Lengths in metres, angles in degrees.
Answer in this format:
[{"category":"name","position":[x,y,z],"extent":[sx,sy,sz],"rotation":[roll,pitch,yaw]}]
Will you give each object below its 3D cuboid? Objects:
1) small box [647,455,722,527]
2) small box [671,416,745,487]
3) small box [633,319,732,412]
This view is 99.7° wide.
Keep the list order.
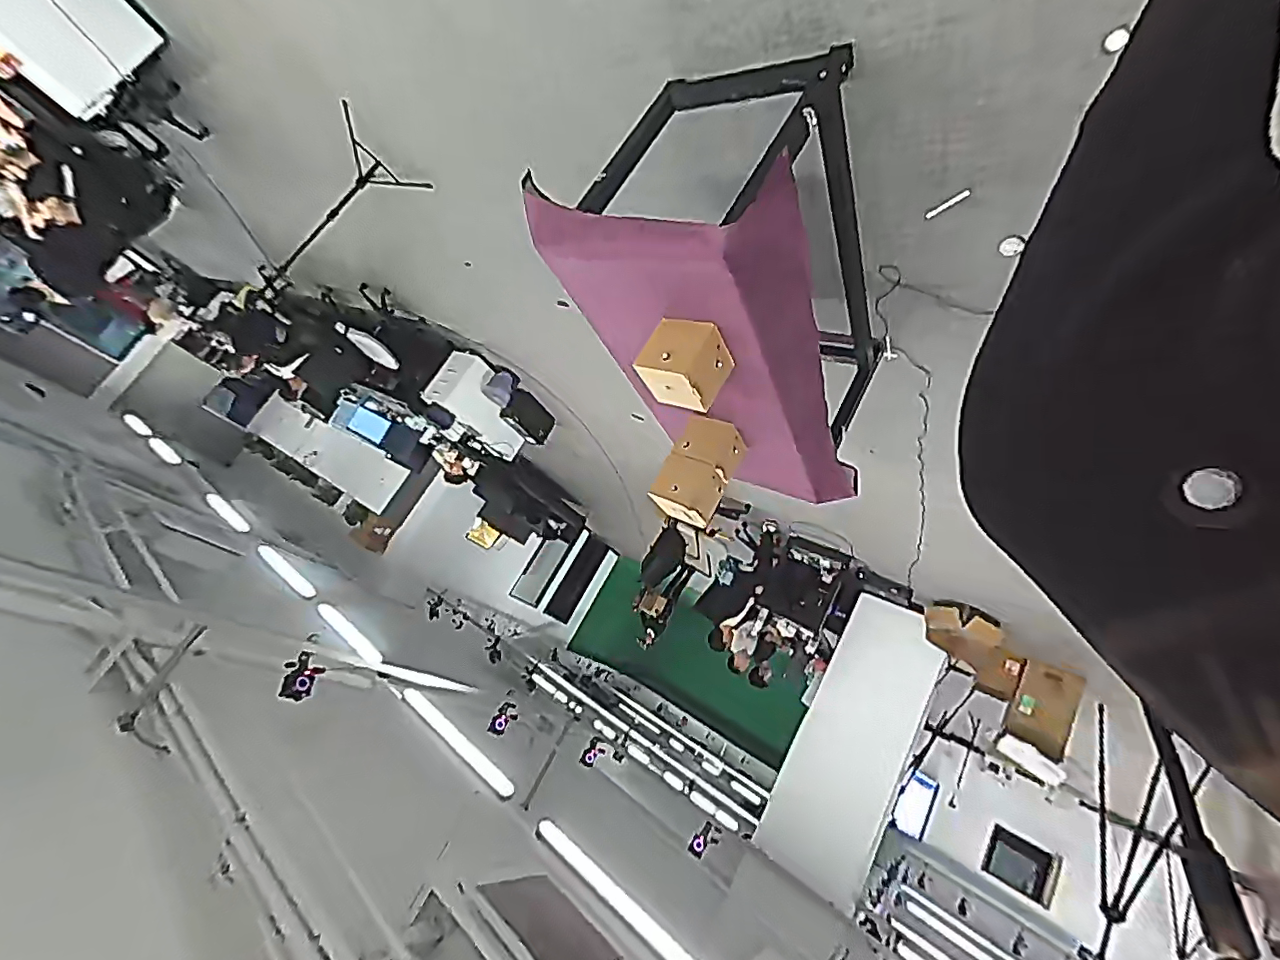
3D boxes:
[{"category":"small box","position":[0.161,0.034,1.860],"extent":[0.179,0.176,0.168],"rotation":[19,162,40]},{"category":"small box","position":[0.242,-0.103,1.899],"extent":[0.179,0.176,0.168],"rotation":[19,162,36]},{"category":"small box","position":[0.117,-0.311,1.451],"extent":[0.179,0.176,0.168],"rotation":[19,162,37]}]
